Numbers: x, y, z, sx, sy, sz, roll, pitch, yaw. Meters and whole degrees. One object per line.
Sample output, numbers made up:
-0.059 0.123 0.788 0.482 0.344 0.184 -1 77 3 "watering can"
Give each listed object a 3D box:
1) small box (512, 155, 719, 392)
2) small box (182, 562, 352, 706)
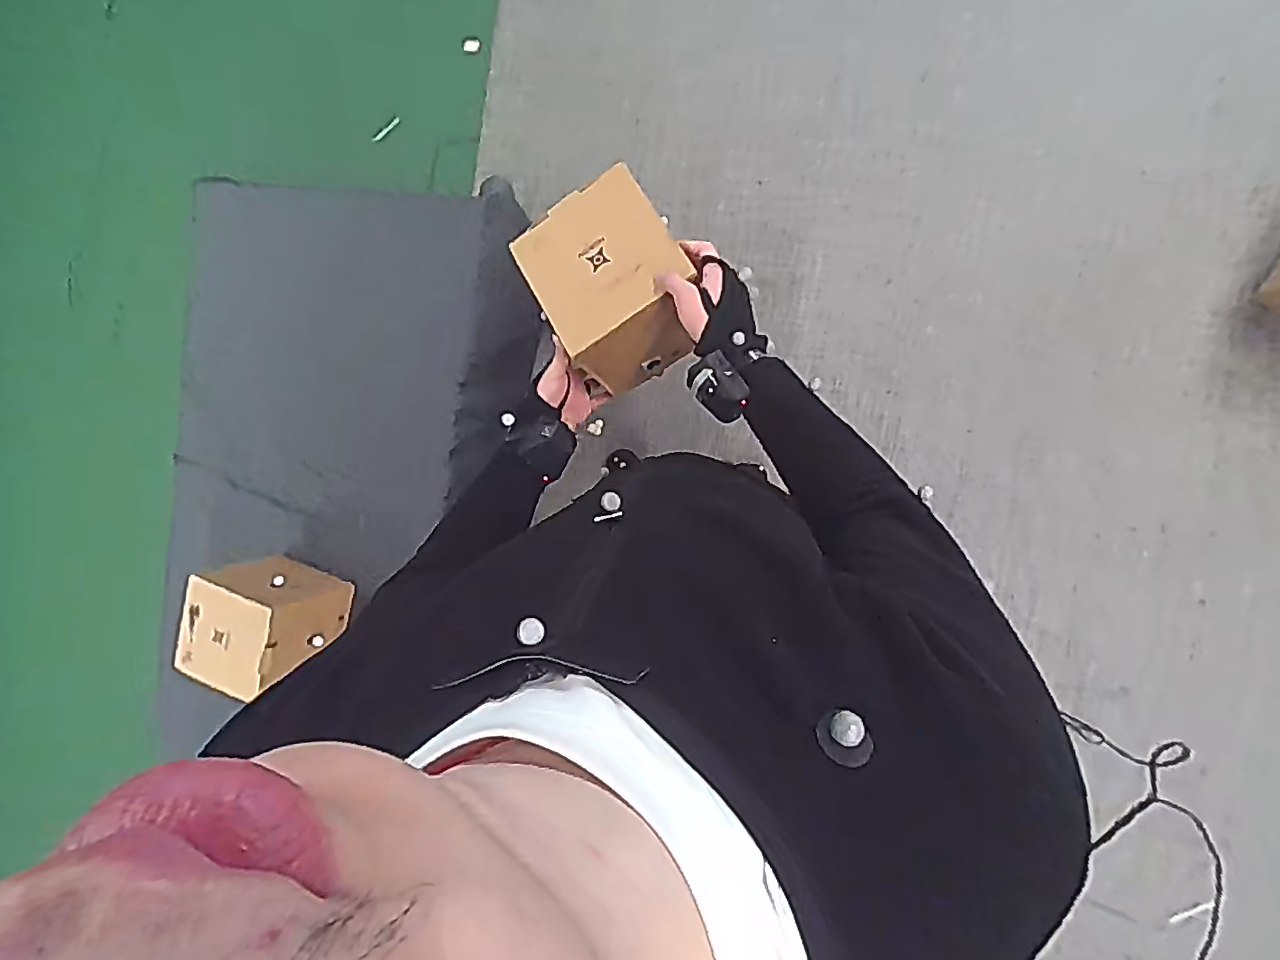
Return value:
-0.022 -0.237 0.665 0.168 0.176 0.179 -31 74 11 "small box"
-0.634 0.253 0.936 0.179 0.176 0.168 13 97 13 "small box"
